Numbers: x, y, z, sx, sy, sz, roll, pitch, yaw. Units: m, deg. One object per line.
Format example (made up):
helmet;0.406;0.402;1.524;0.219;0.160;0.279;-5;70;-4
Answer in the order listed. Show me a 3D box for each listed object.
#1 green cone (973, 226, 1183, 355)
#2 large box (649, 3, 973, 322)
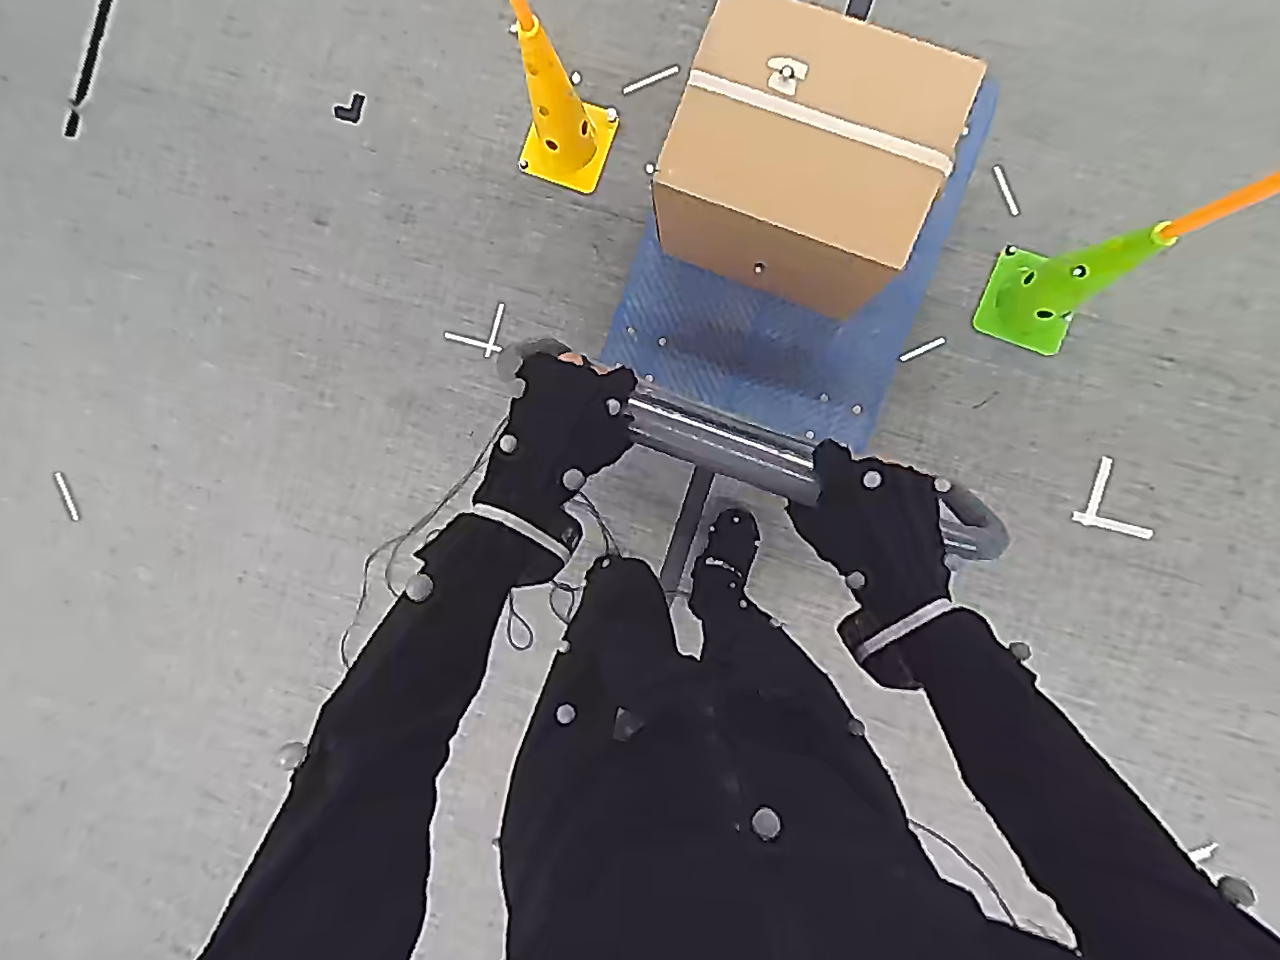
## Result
green cone;0.868;-0.397;1.054;0.202;0.368;0.200;21;93;3
large box;0.267;-0.520;0.962;0.408;0.320;0.320;22;94;5
